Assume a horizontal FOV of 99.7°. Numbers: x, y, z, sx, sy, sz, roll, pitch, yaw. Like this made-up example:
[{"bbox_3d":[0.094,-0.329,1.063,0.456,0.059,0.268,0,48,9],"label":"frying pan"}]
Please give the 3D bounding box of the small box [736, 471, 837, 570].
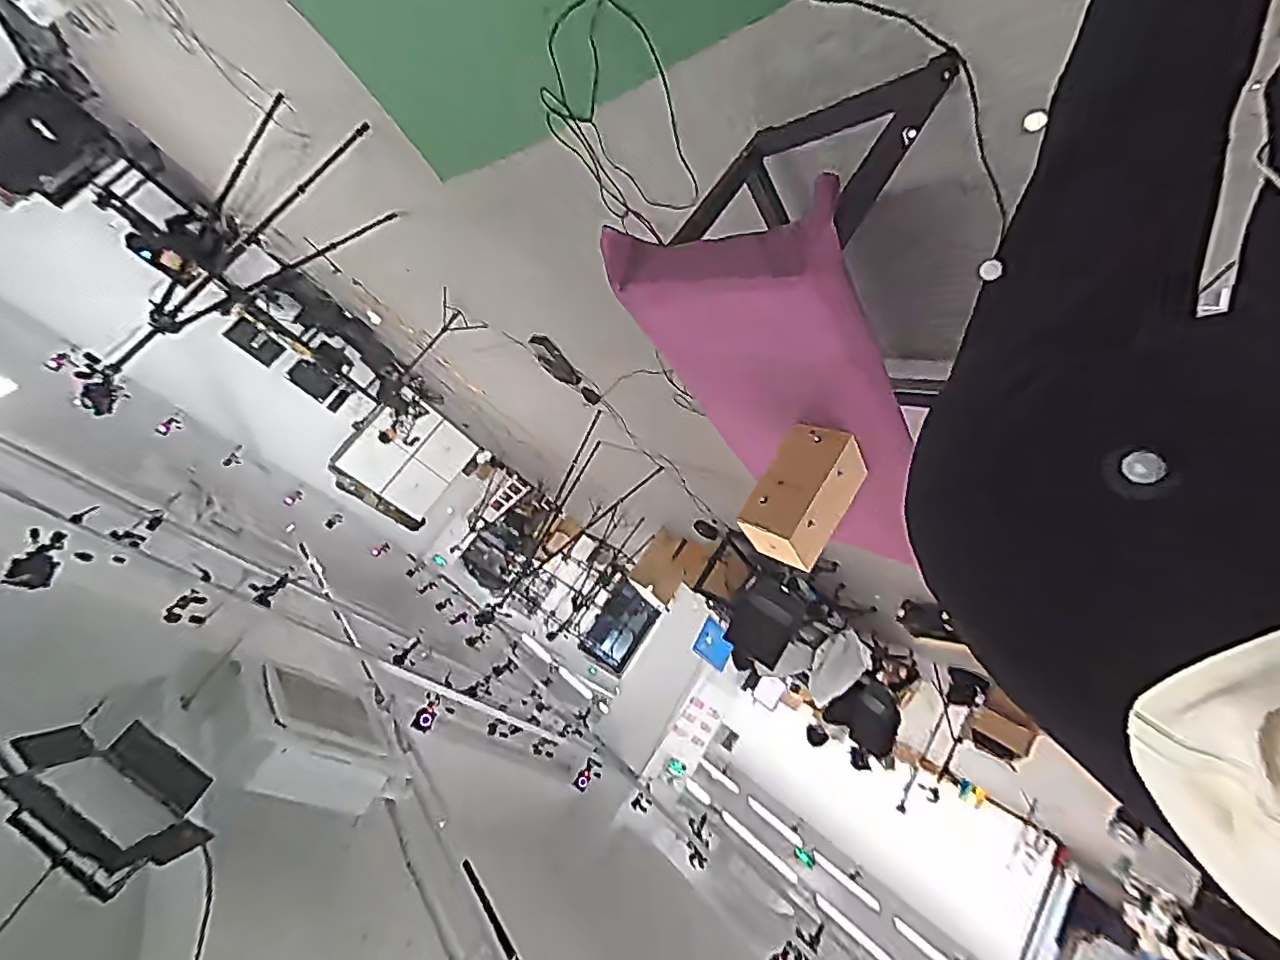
[{"bbox_3d":[0.385,0.099,1.408,0.168,0.176,0.179,21,160,45],"label":"small box"}]
